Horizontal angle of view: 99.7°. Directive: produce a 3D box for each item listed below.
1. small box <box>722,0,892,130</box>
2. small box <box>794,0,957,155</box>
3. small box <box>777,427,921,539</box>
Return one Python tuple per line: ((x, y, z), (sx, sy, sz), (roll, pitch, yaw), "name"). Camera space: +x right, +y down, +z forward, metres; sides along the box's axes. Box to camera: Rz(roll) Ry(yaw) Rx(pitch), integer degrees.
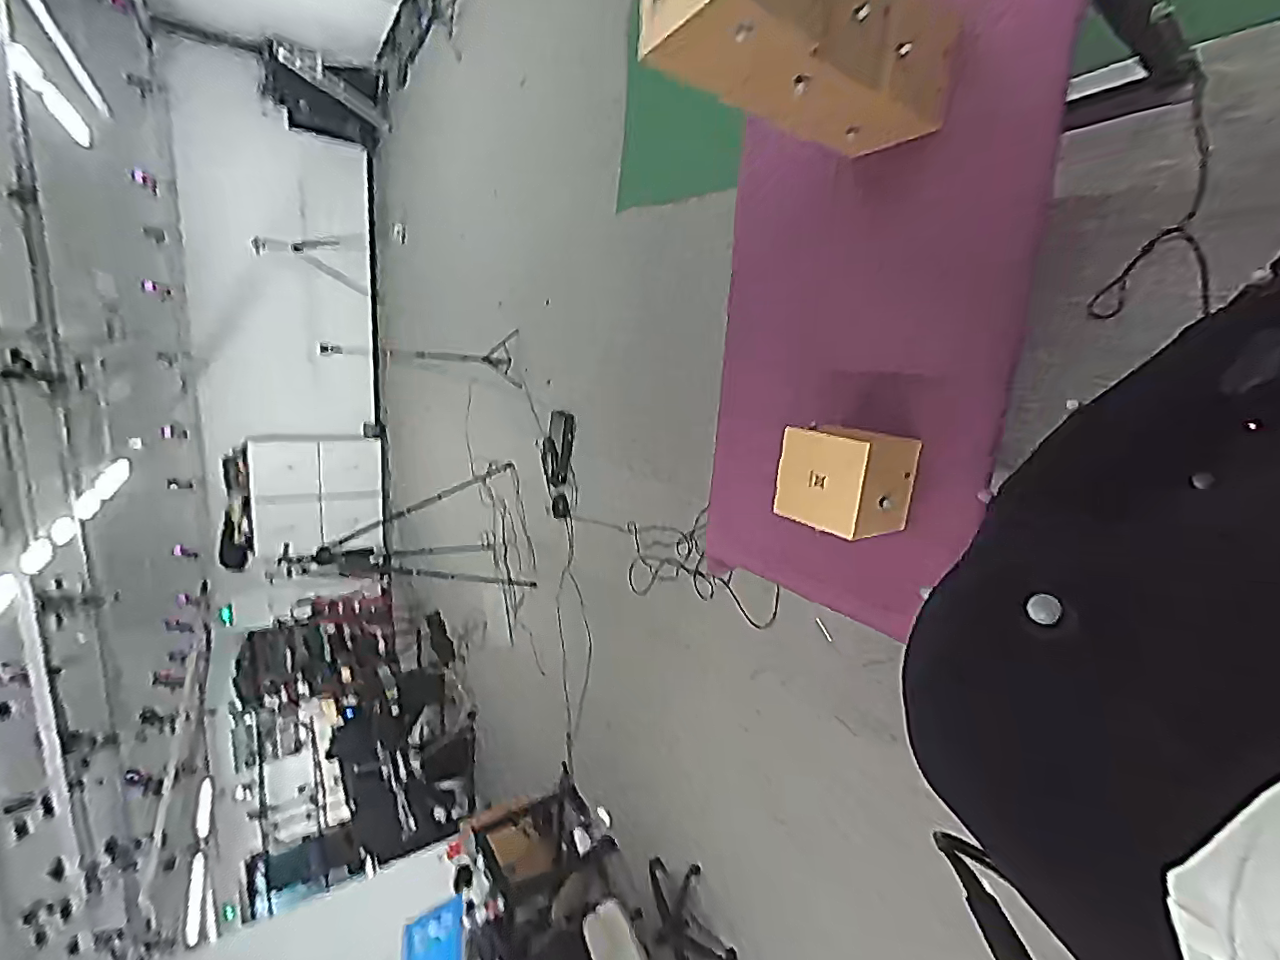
((0.249, -0.659, 0.810), (0.179, 0.176, 0.168), (21, 110, 54), "small box")
((0.387, -0.670, 0.900), (0.179, 0.176, 0.168), (18, 110, 55), "small box")
((0.380, -0.005, 0.987), (0.179, 0.176, 0.168), (22, 112, 53), "small box")
